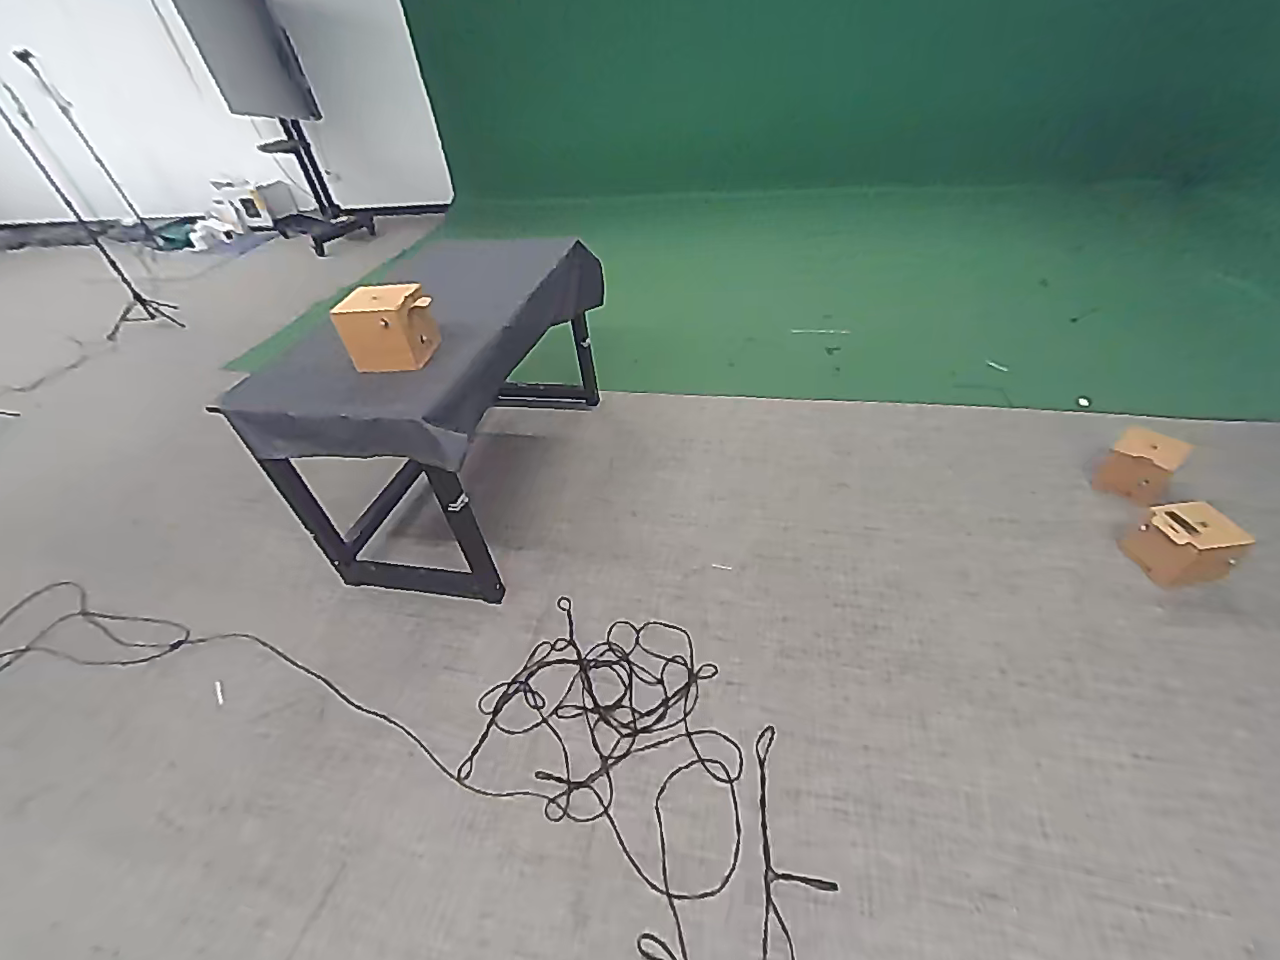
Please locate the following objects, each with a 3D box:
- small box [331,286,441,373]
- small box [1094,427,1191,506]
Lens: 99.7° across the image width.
[{"bbox_3d":[-0.652,-0.390,1.409,0.179,0.176,0.168,-1,41,6],"label":"small box"},{"bbox_3d":[1.657,-0.043,1.792,0.179,0.176,0.168,-32,48,-28],"label":"small box"}]
